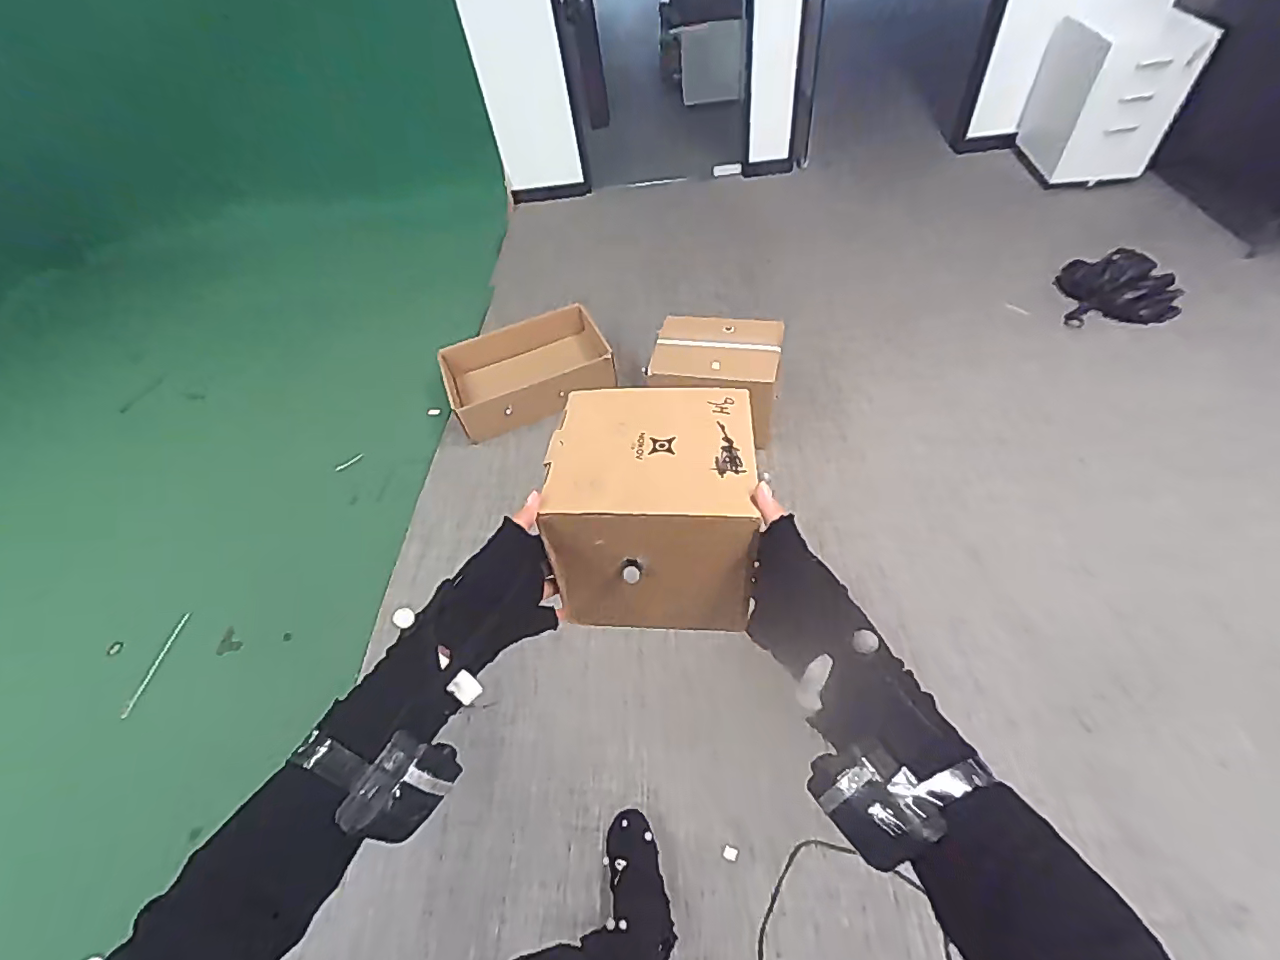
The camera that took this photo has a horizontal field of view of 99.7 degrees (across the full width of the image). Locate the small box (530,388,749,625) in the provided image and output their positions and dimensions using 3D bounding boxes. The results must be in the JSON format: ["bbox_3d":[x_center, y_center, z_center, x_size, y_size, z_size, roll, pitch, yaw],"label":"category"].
[{"bbox_3d":[0.012,0.028,0.528,0.179,0.176,0.168,0,45,7],"label":"small box"}]
